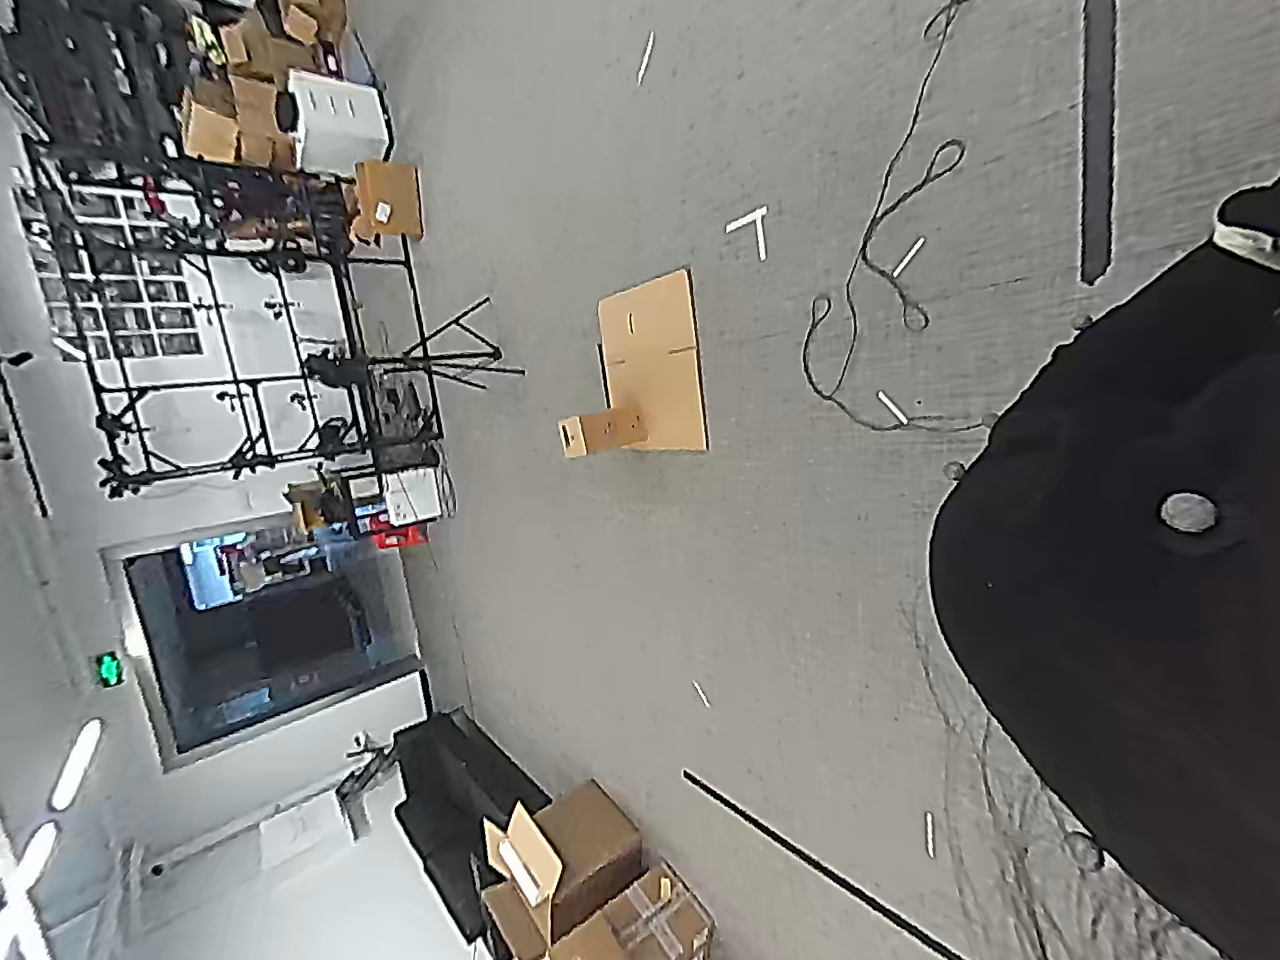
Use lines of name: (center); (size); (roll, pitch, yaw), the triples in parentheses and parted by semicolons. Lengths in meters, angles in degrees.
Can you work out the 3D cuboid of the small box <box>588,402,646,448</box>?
small box: (-0.102, -0.246, 2.414); (0.179, 0.176, 0.168); (-11, 94, 53)
